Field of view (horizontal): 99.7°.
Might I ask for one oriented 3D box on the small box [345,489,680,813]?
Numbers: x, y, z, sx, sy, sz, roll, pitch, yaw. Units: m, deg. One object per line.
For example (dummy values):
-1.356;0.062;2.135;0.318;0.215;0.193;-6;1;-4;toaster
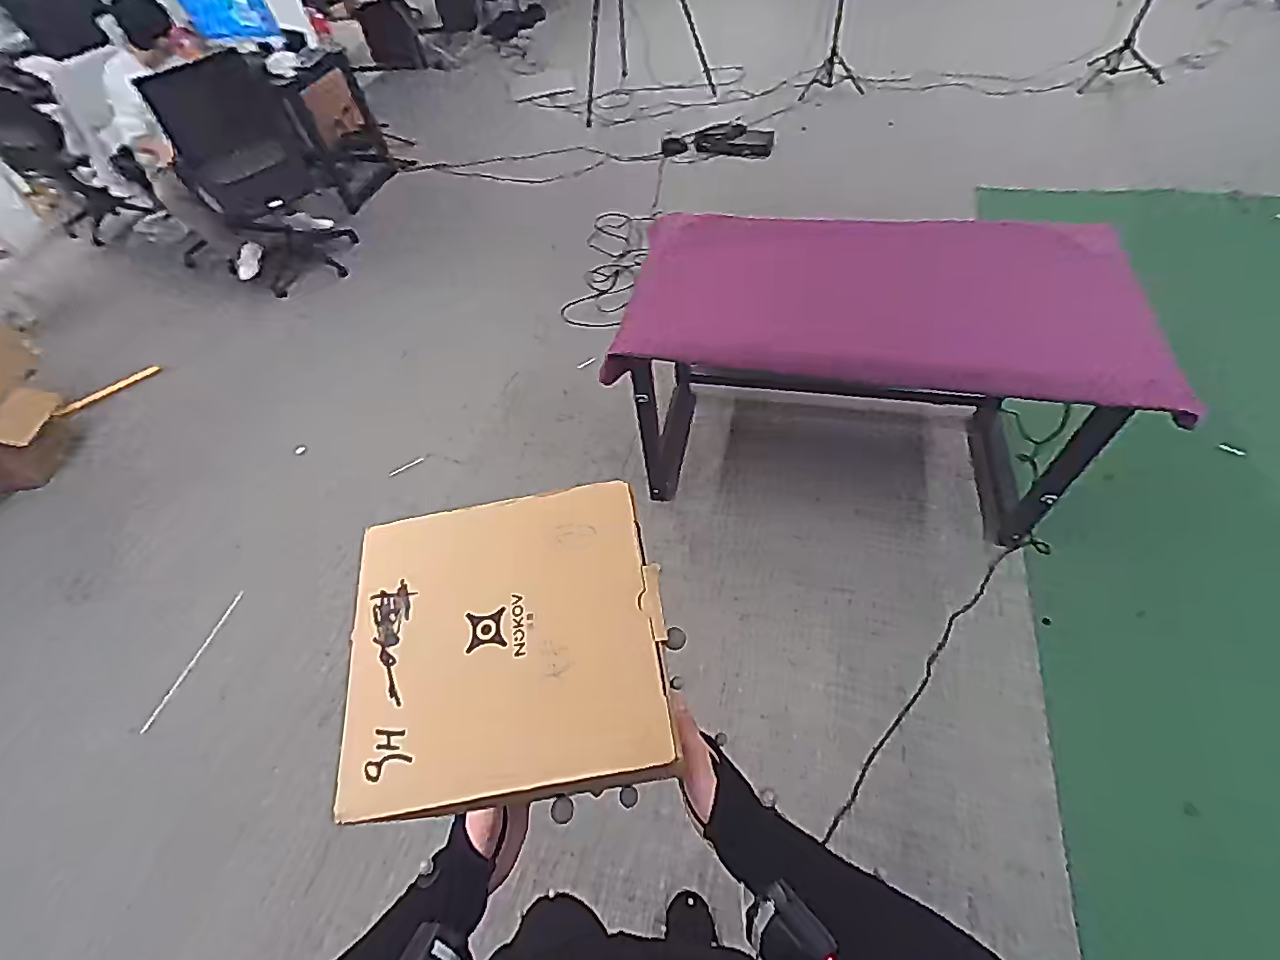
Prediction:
-0.070;0.127;0.385;0.179;0.176;0.168;-9;59;0;small box
